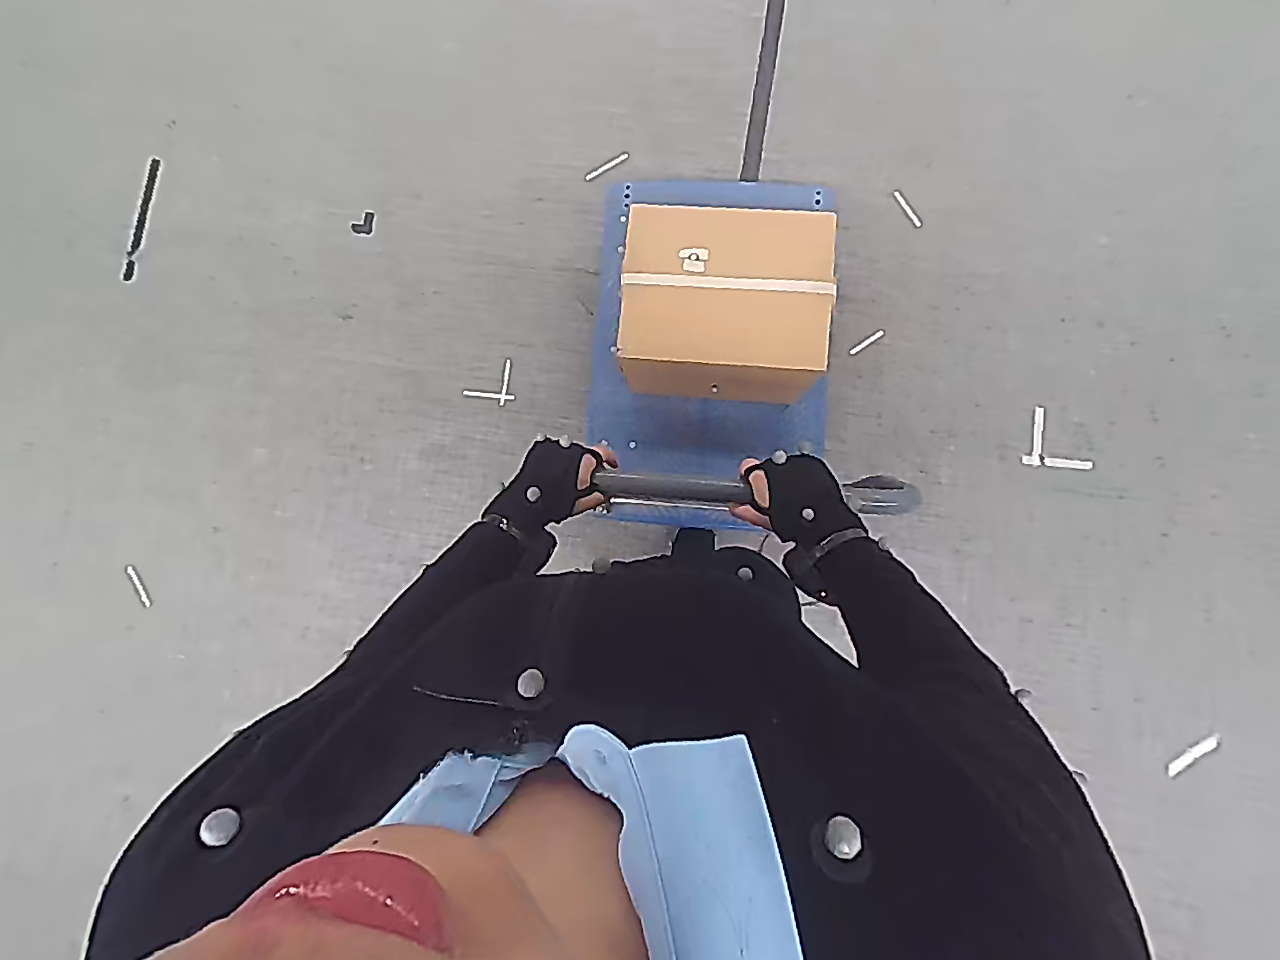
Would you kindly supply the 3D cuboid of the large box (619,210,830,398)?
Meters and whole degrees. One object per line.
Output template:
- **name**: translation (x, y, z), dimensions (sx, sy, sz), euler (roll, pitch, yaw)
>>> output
- **large box**: translation (0.181, -0.371, 1.208), dimensions (0.408, 0.320, 0.320), euler (4, 85, 6)
